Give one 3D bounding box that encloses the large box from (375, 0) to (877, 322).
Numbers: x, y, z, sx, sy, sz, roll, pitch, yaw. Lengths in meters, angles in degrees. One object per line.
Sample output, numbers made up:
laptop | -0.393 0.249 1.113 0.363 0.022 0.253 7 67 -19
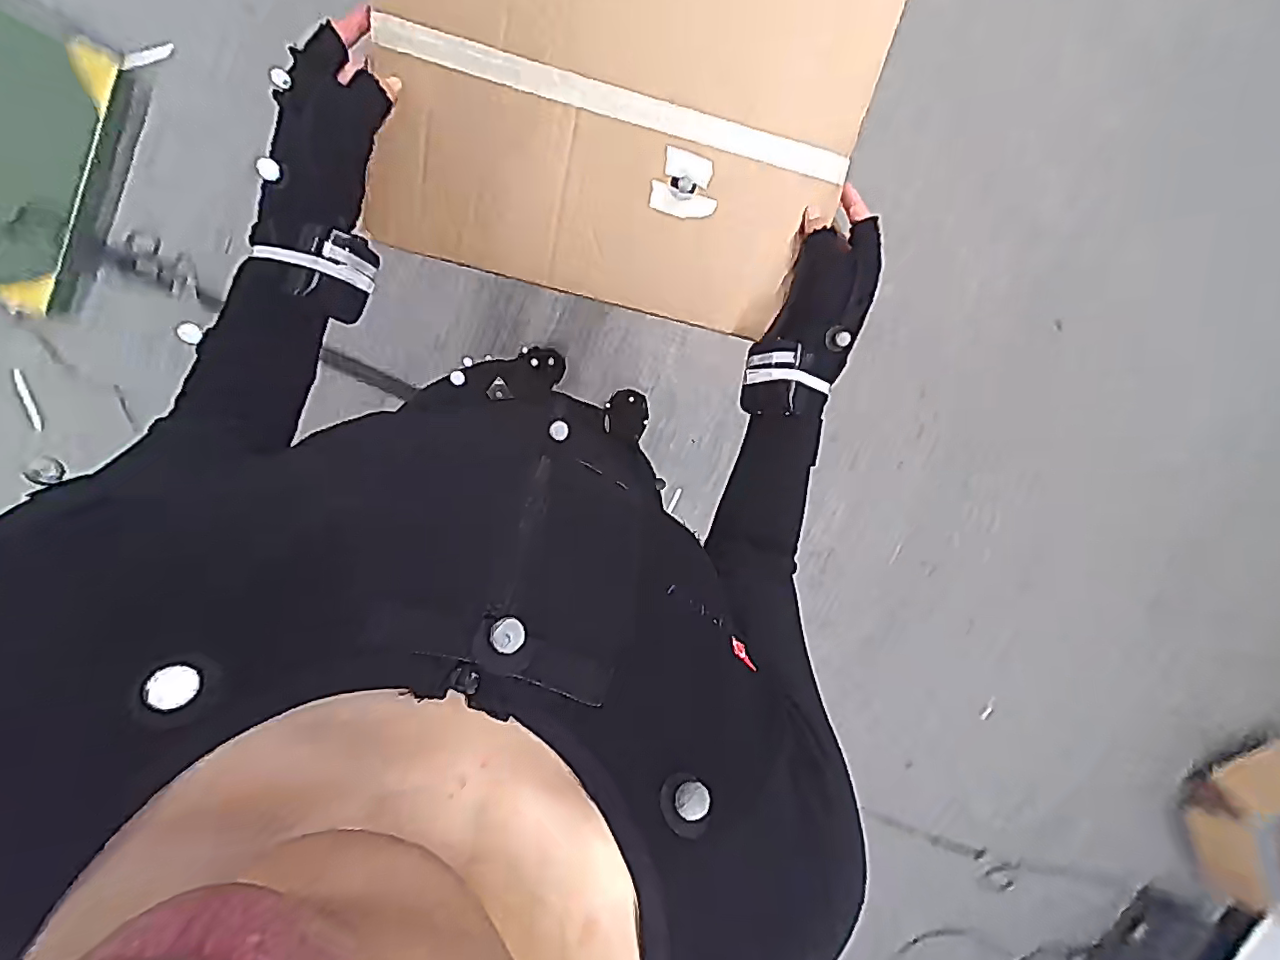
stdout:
large box | -0.031 -0.385 0.601 0.408 0.320 0.320 10 113 -8
